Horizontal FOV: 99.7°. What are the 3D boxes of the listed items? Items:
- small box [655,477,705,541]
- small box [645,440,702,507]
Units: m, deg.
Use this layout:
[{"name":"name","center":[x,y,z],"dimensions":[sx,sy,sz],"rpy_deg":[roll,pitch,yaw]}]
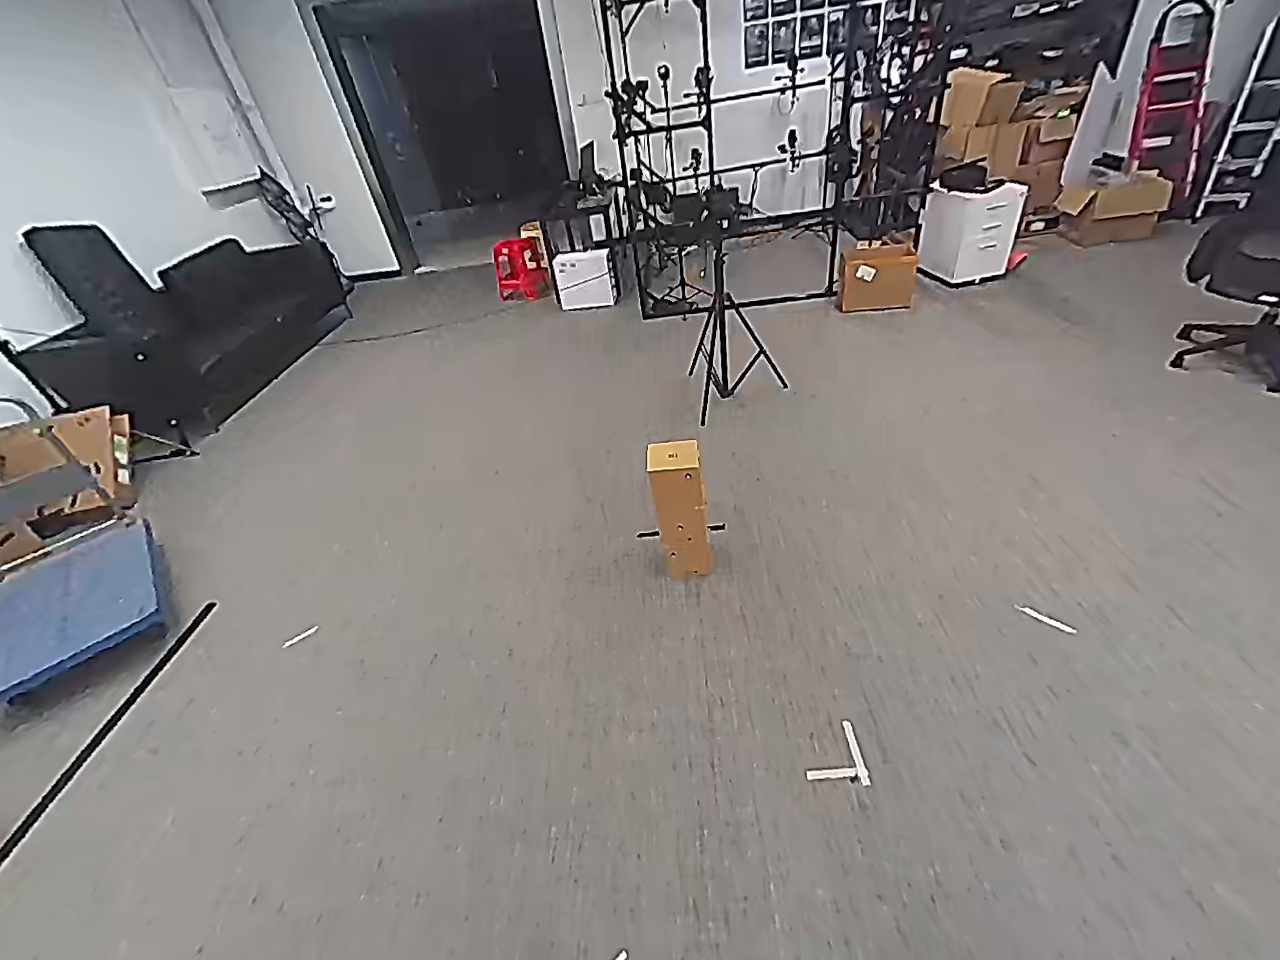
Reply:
[{"name":"small box","center":[0.151,0.111,1.967],"dimensions":[0.168,0.176,0.179],"rpy_deg":[-3,36,9]},{"name":"small box","center":[0.118,-0.019,1.874],"dimensions":[0.179,0.176,0.168],"rpy_deg":[-5,37,6]}]
